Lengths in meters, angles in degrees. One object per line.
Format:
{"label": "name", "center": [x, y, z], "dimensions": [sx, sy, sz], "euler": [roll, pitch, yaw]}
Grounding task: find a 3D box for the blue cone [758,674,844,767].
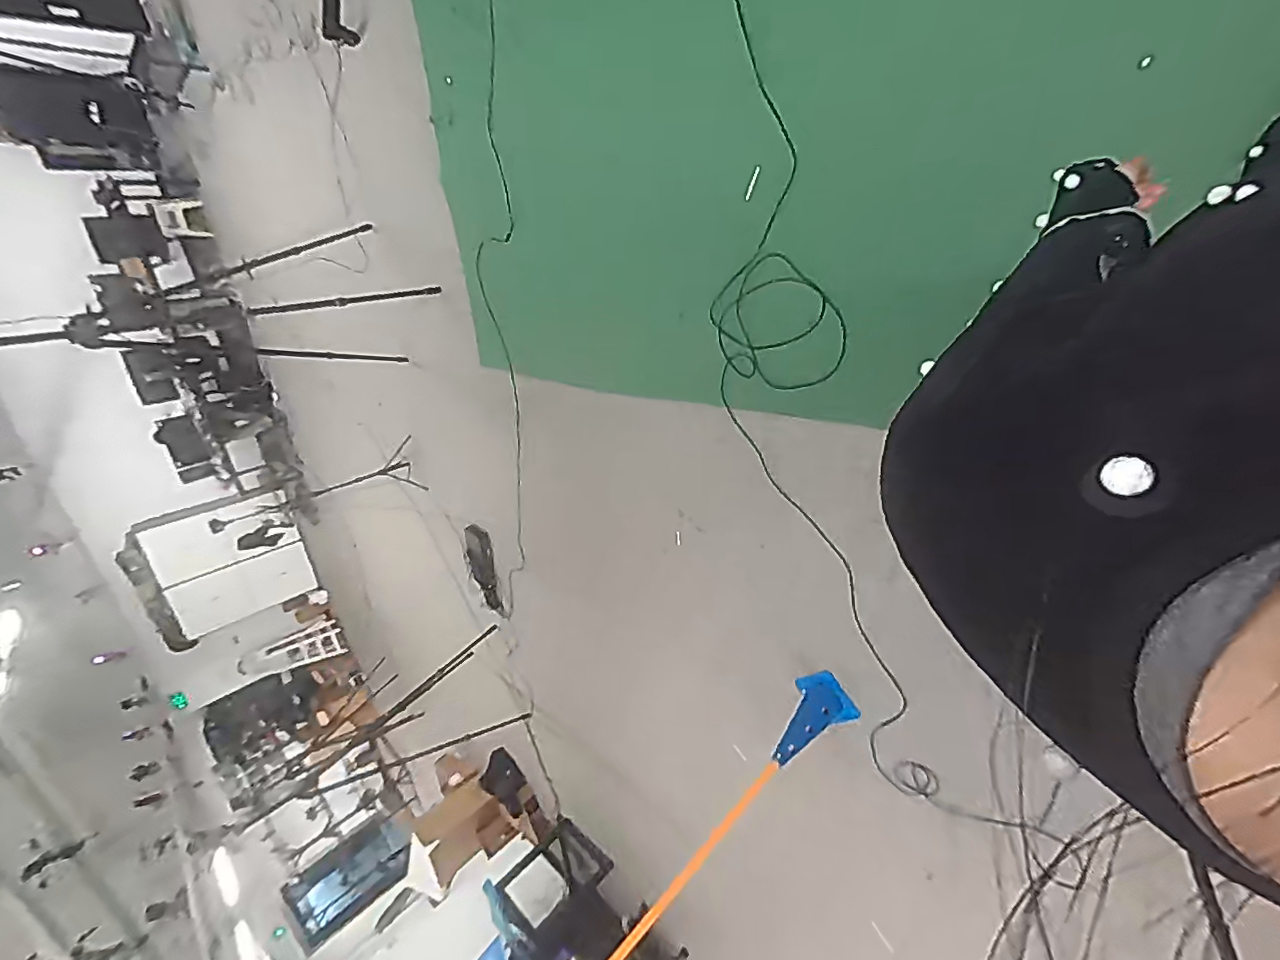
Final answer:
{"label": "blue cone", "center": [0.544, 0.887, 1.927], "dimensions": [0.192, 0.380, 0.193], "euler": [53, 141, 11]}
